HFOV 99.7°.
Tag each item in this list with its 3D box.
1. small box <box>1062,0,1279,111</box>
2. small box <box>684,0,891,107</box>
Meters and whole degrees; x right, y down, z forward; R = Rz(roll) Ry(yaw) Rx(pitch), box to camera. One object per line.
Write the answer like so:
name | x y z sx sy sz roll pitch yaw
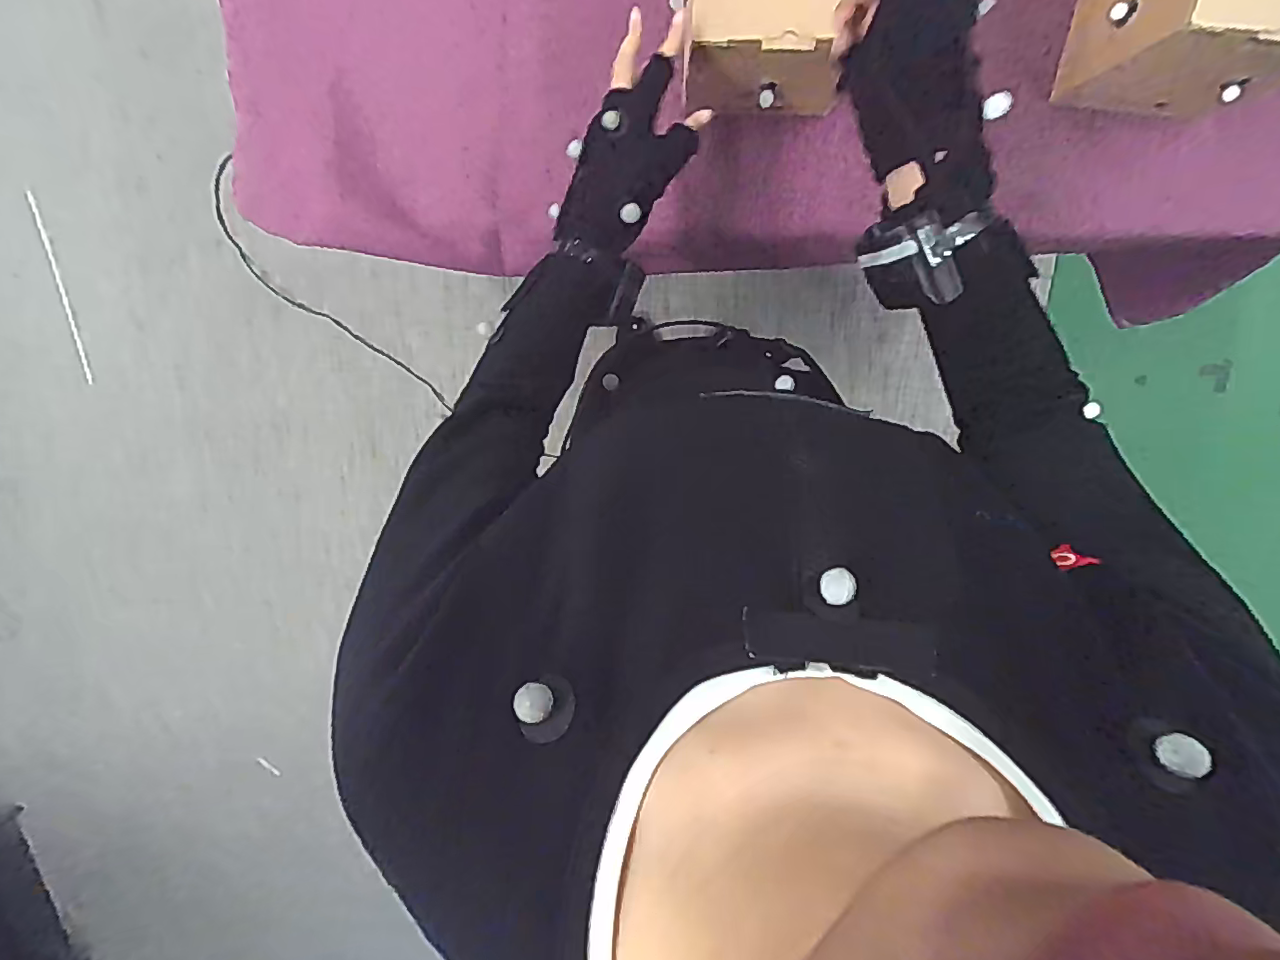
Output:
small box | 0.534 -0.463 0.486 0.168 0.176 0.179 7 107 0
small box | 0.129 -0.471 0.502 0.168 0.176 0.179 1 108 2
